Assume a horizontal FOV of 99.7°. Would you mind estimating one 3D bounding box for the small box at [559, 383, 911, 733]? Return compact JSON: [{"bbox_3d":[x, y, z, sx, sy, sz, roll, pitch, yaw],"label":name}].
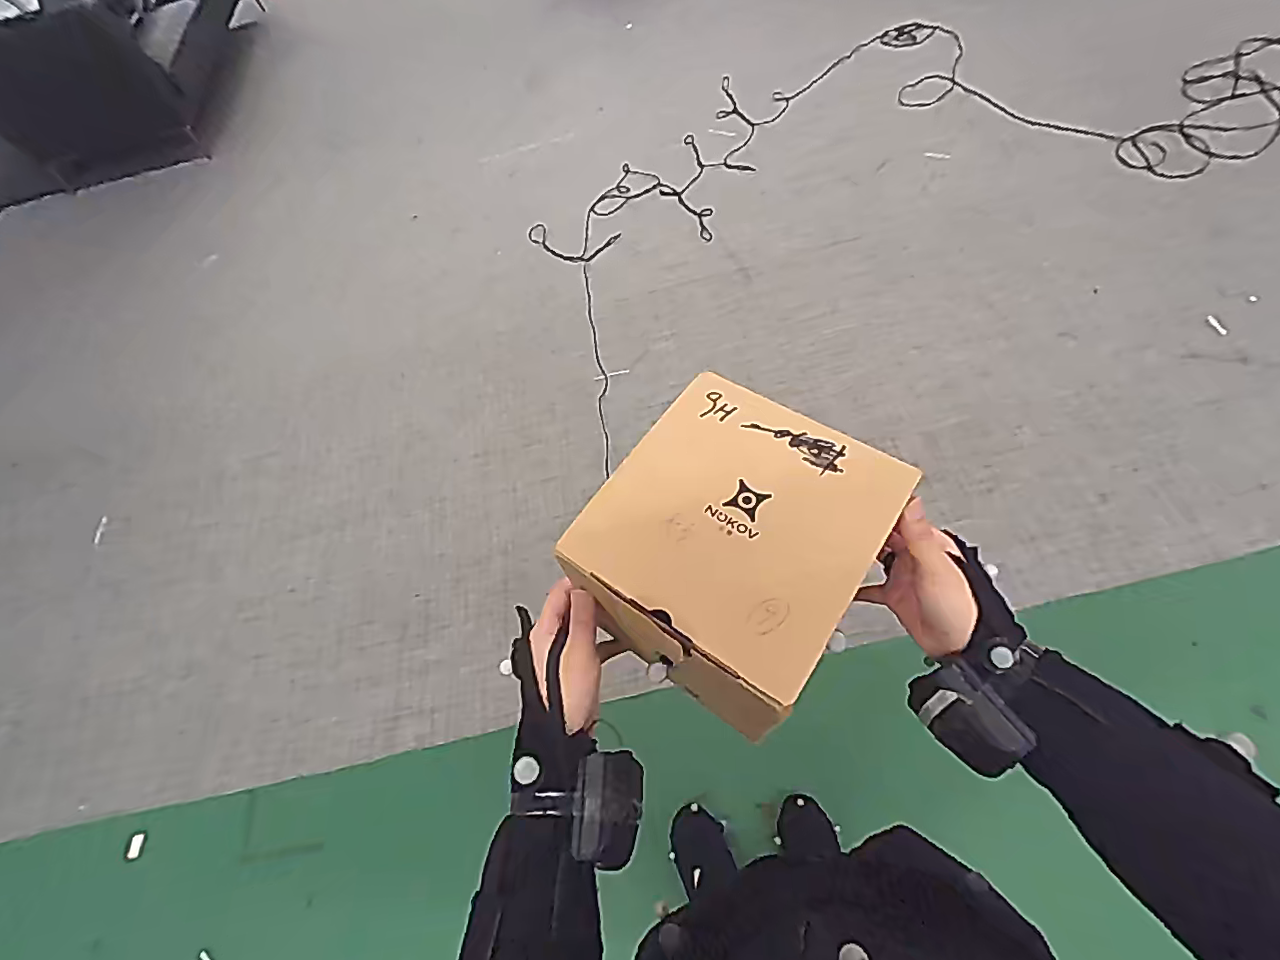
[{"bbox_3d":[0.070,0.066,0.414,0.168,0.176,0.179,30,67,22],"label":"small box"}]
